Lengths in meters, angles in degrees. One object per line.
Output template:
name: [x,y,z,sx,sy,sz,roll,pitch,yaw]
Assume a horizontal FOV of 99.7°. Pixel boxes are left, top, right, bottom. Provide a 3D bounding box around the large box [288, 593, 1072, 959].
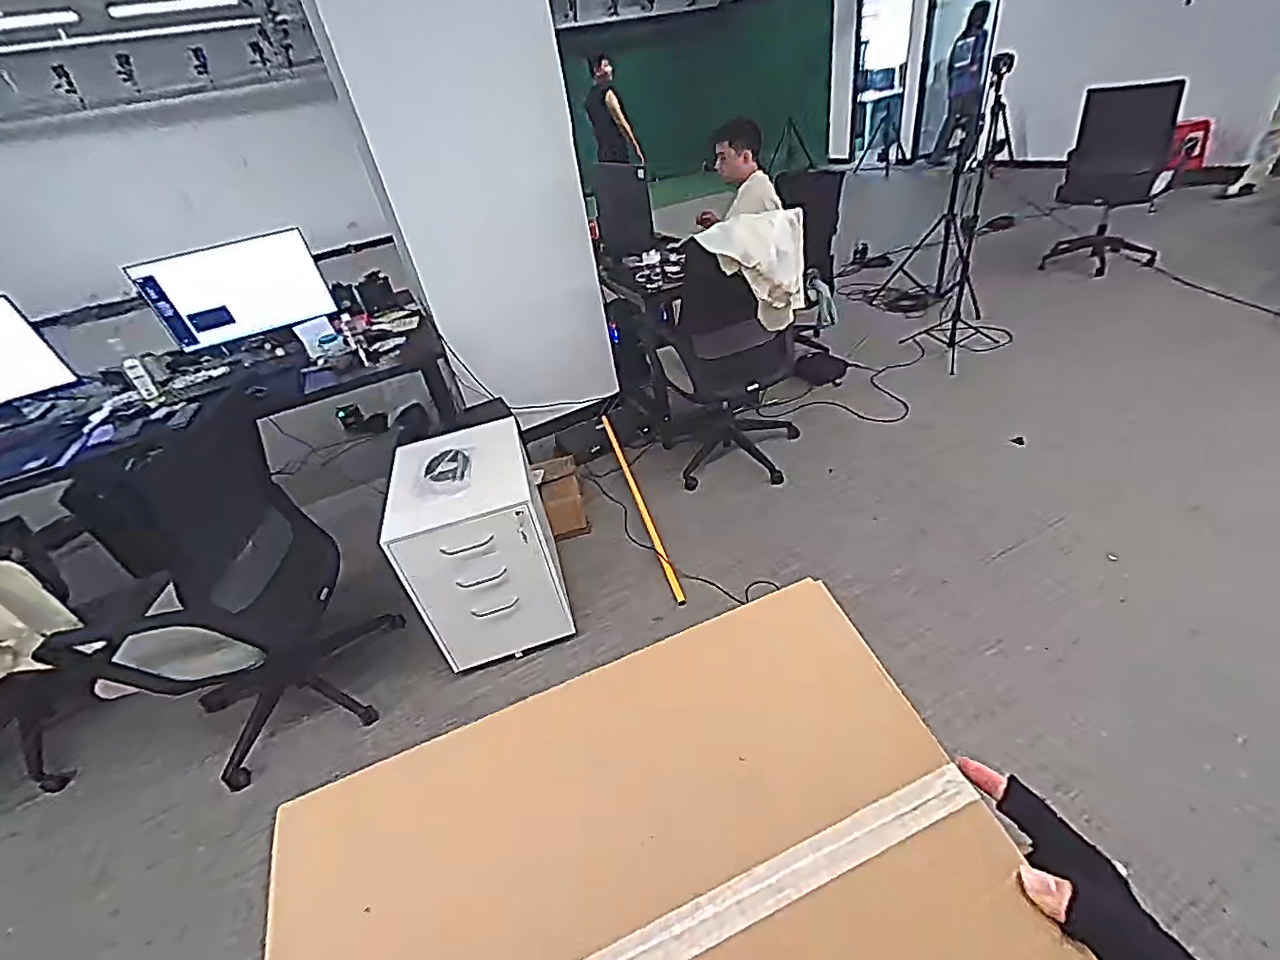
large box: [0.026,0.355,0.409,0.408,0.320,0.320,-21,49,-9]
